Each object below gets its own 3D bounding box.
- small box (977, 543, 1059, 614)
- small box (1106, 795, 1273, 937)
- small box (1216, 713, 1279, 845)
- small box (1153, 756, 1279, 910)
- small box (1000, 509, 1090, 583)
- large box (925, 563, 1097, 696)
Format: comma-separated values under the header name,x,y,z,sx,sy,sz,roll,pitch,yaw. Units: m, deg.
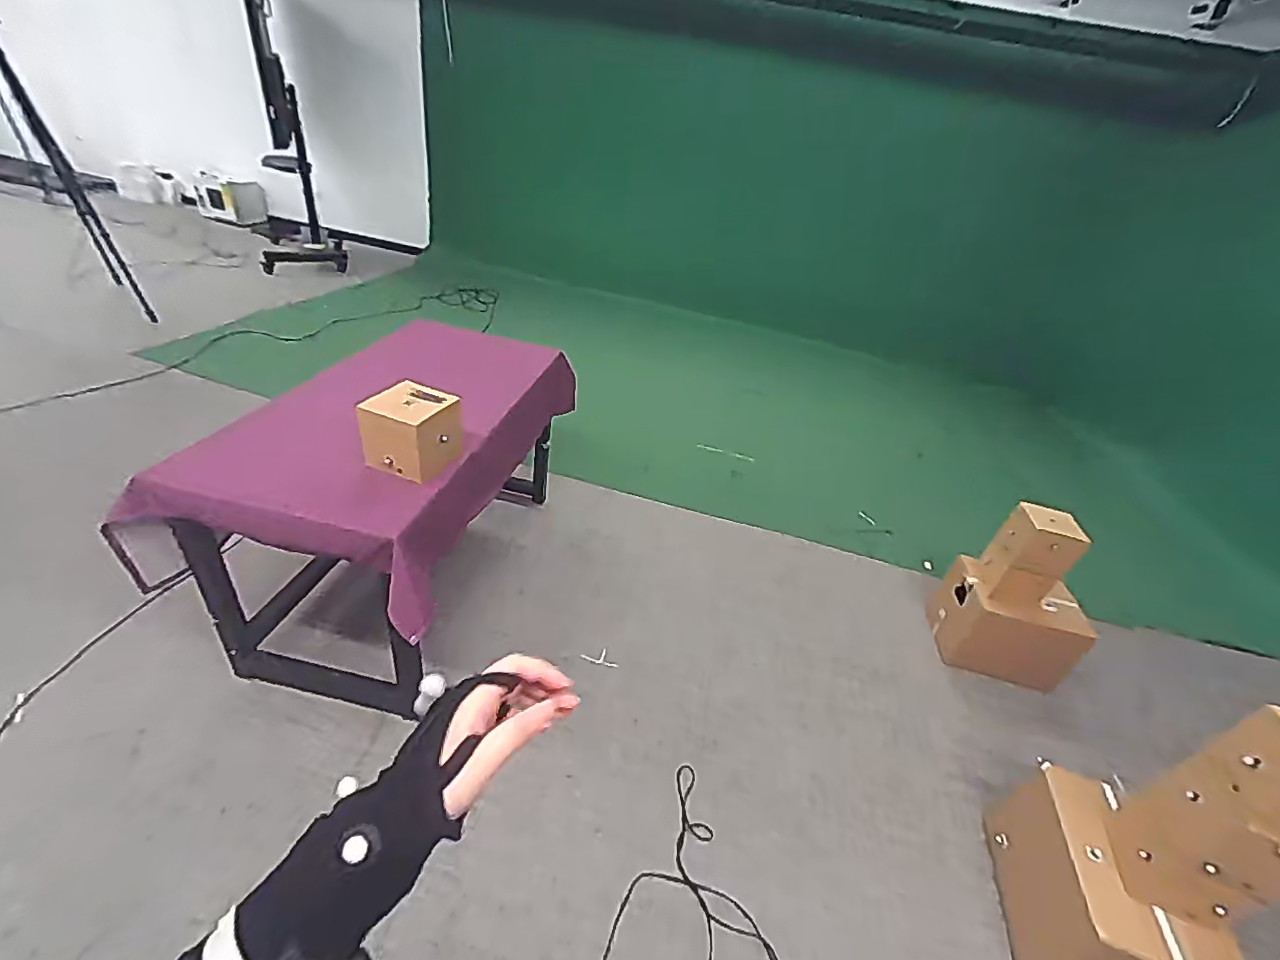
name,x,y,z,sx,sy,sz,roll,pitch,yaw
small box,1.364,0.361,1.970,0.179,0.176,0.168,16,34,6
small box,1.185,0.848,1.187,0.168,0.176,0.179,22,34,12
small box,1.247,0.582,1.005,0.179,0.176,0.168,21,35,12
small box,1.212,0.715,1.095,0.168,0.176,0.179,23,34,13
small box,1.388,0.230,1.873,0.179,0.176,0.168,16,34,6
large box,1.410,0.577,2.105,0.408,0.320,0.320,15,33,4
